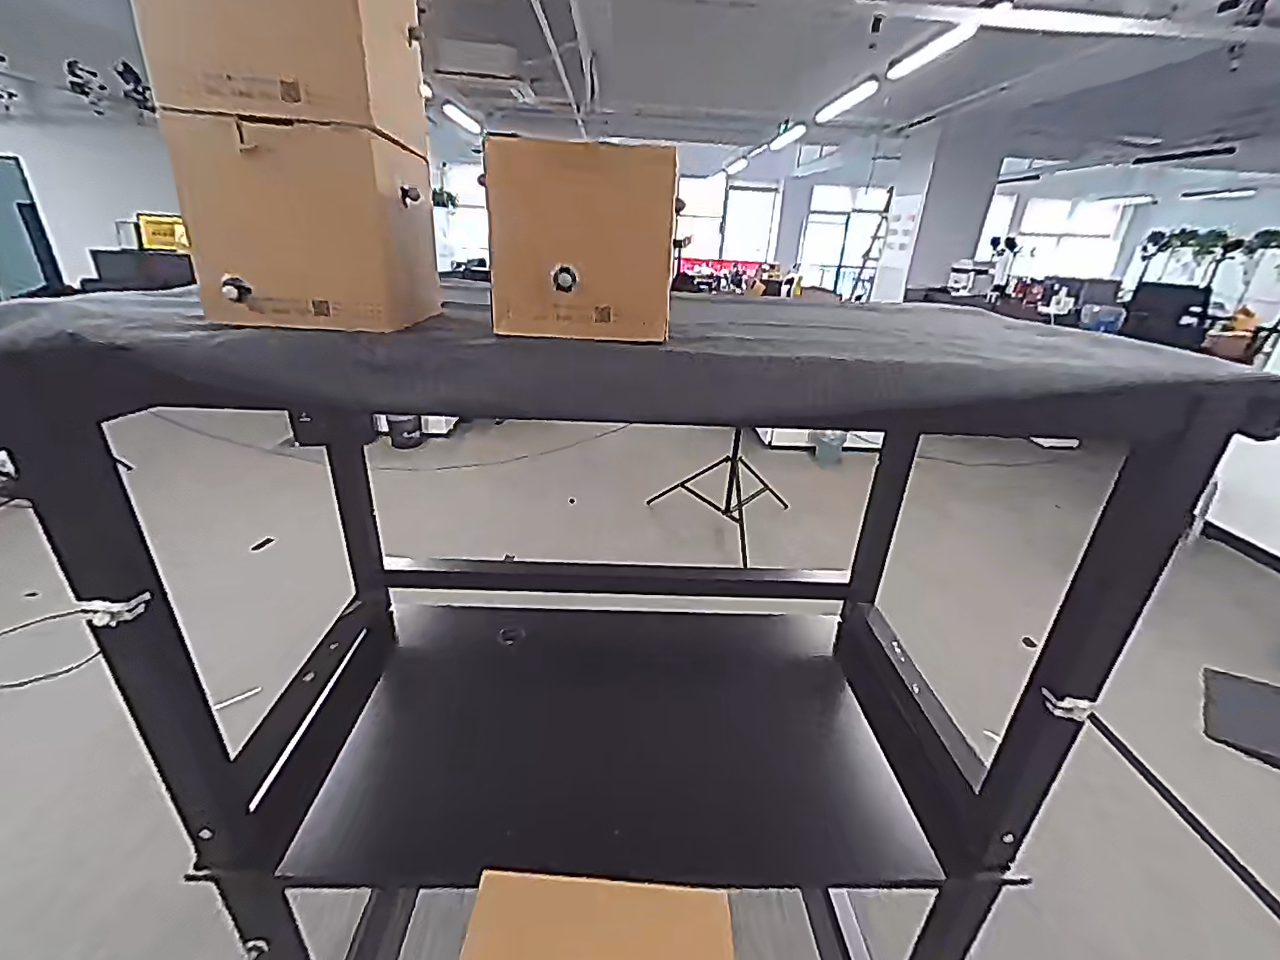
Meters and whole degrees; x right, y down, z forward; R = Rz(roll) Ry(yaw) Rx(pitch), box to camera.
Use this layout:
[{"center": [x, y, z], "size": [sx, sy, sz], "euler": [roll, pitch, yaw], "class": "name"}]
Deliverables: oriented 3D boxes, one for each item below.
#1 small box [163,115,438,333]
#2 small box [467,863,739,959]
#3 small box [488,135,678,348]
[{"center": [-0.311, -0.245, 0.544], "size": [0.168, 0.176, 0.179], "euler": [2, 22, -5], "class": "small box"}, {"center": [-0.030, 0.376, 0.325], "size": [0.168, 0.176, 0.179], "euler": [5, 28, 0], "class": "small box"}, {"center": [-0.055, -0.238, 0.562], "size": [0.168, 0.176, 0.179], "euler": [1, 22, -3], "class": "small box"}]
